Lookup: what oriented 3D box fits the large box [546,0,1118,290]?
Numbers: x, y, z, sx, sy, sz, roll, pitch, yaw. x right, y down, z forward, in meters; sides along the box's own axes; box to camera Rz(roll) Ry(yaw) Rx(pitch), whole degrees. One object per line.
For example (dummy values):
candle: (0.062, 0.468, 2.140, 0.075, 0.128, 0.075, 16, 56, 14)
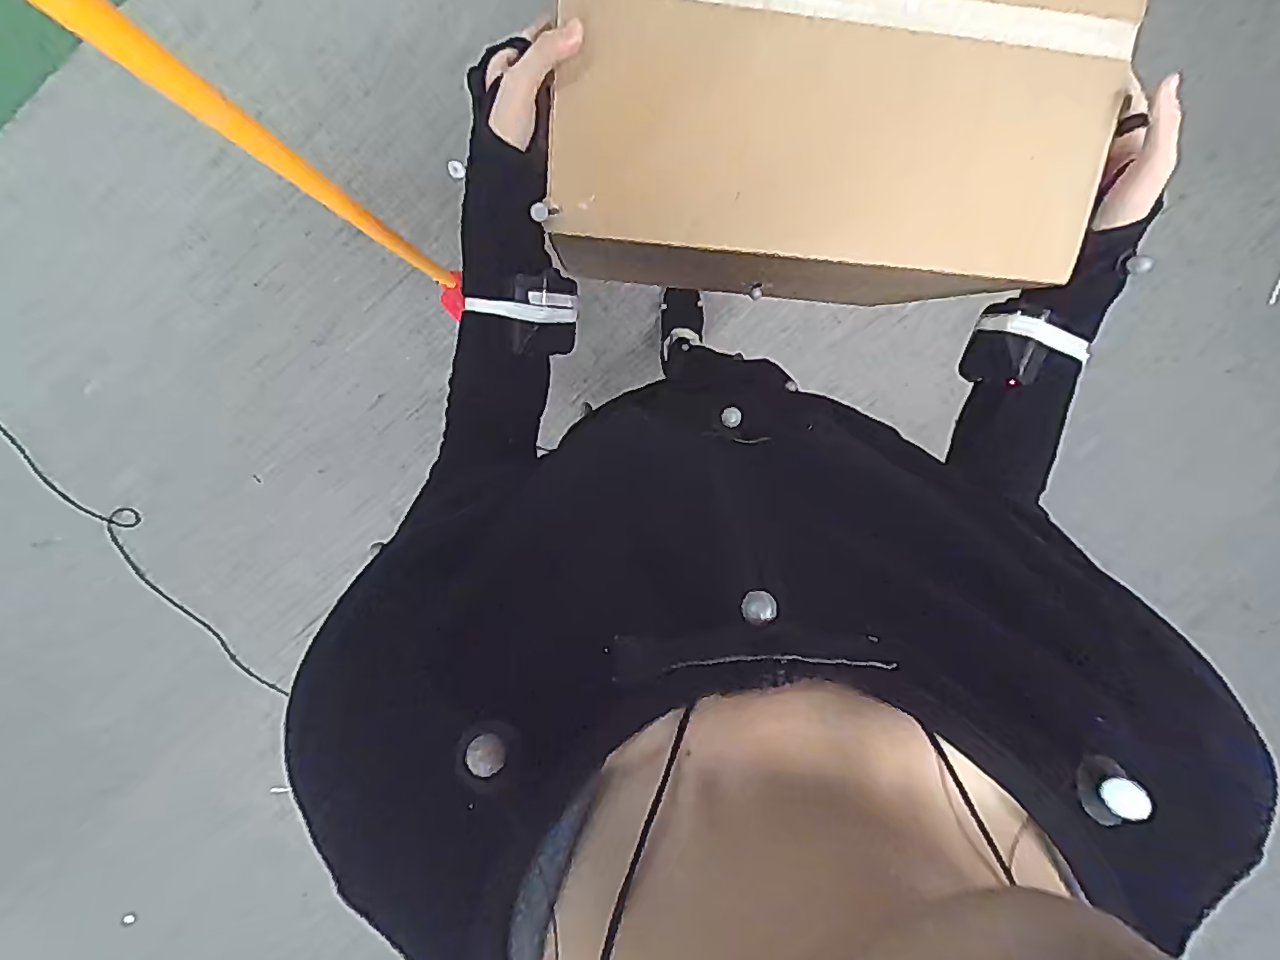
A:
large box: (0.131, -0.364, 0.522, 0.408, 0.320, 0.320, 4, 105, -5)
